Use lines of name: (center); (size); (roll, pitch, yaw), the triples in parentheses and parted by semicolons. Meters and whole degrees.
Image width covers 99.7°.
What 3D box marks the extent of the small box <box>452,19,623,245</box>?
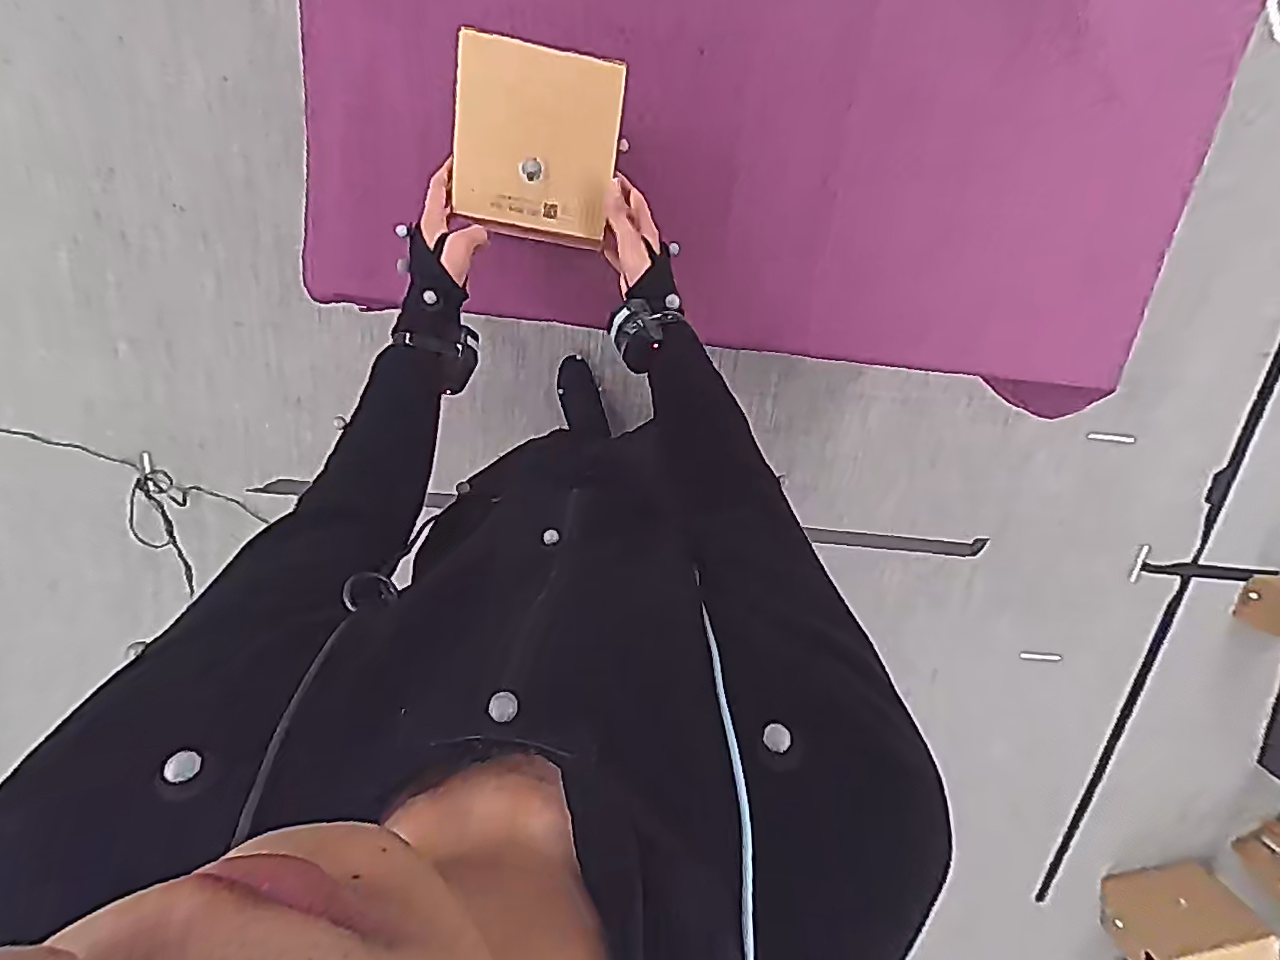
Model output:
small box: (-0.116, -0.378, 0.629); (0.168, 0.179, 0.176); (6, 109, -8)
